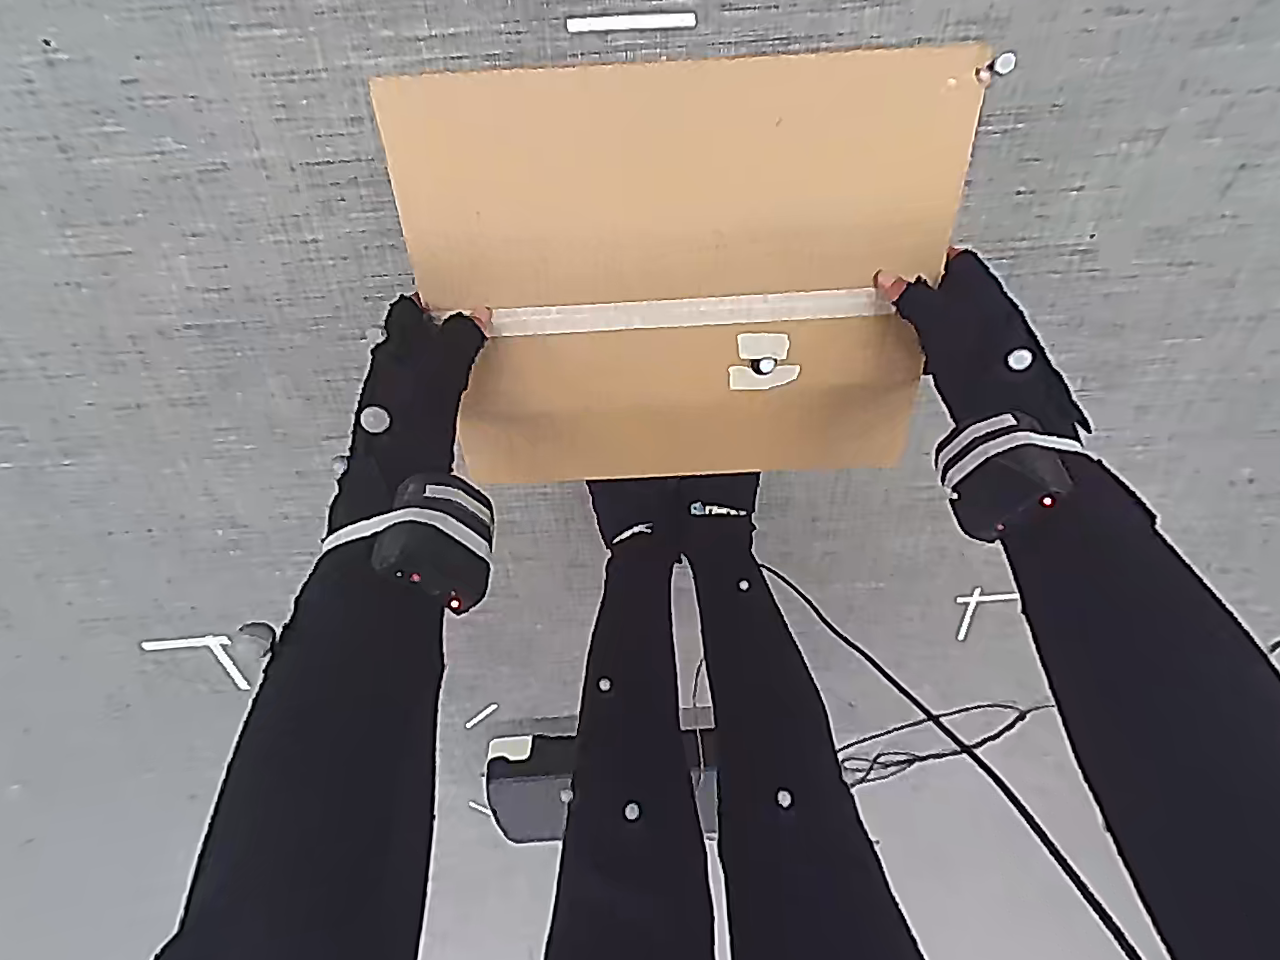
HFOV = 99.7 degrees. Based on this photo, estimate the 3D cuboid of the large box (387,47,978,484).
[{"bbox_3d":[0.030,-0.218,0.561,0.408,0.320,0.320,-4,123,0],"label":"large box"}]
